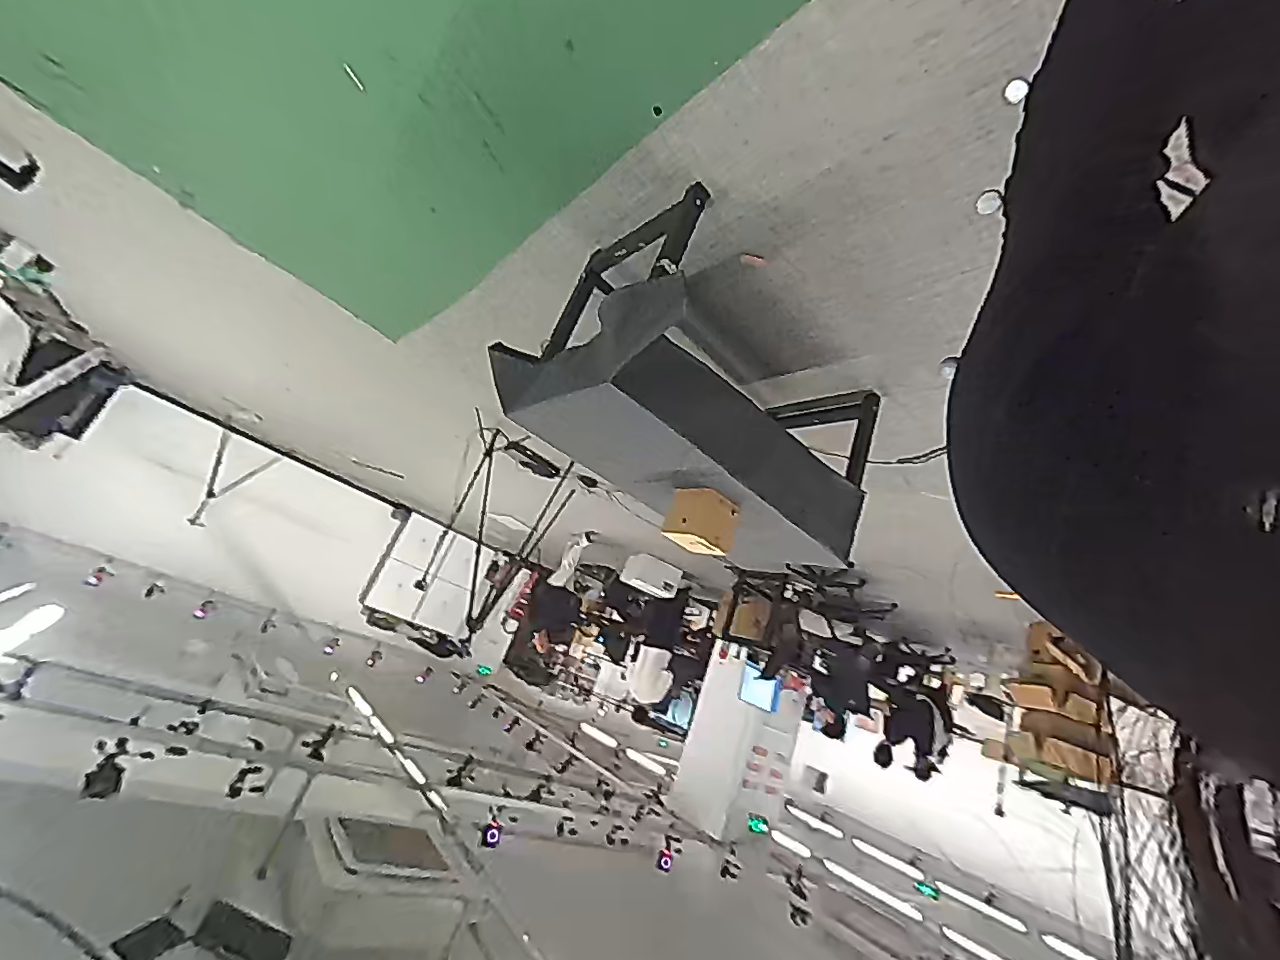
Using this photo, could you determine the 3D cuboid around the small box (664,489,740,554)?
[{"bbox_3d":[0.216,0.138,1.820,0.168,0.176,0.179,34,158,-32],"label":"small box"}]
